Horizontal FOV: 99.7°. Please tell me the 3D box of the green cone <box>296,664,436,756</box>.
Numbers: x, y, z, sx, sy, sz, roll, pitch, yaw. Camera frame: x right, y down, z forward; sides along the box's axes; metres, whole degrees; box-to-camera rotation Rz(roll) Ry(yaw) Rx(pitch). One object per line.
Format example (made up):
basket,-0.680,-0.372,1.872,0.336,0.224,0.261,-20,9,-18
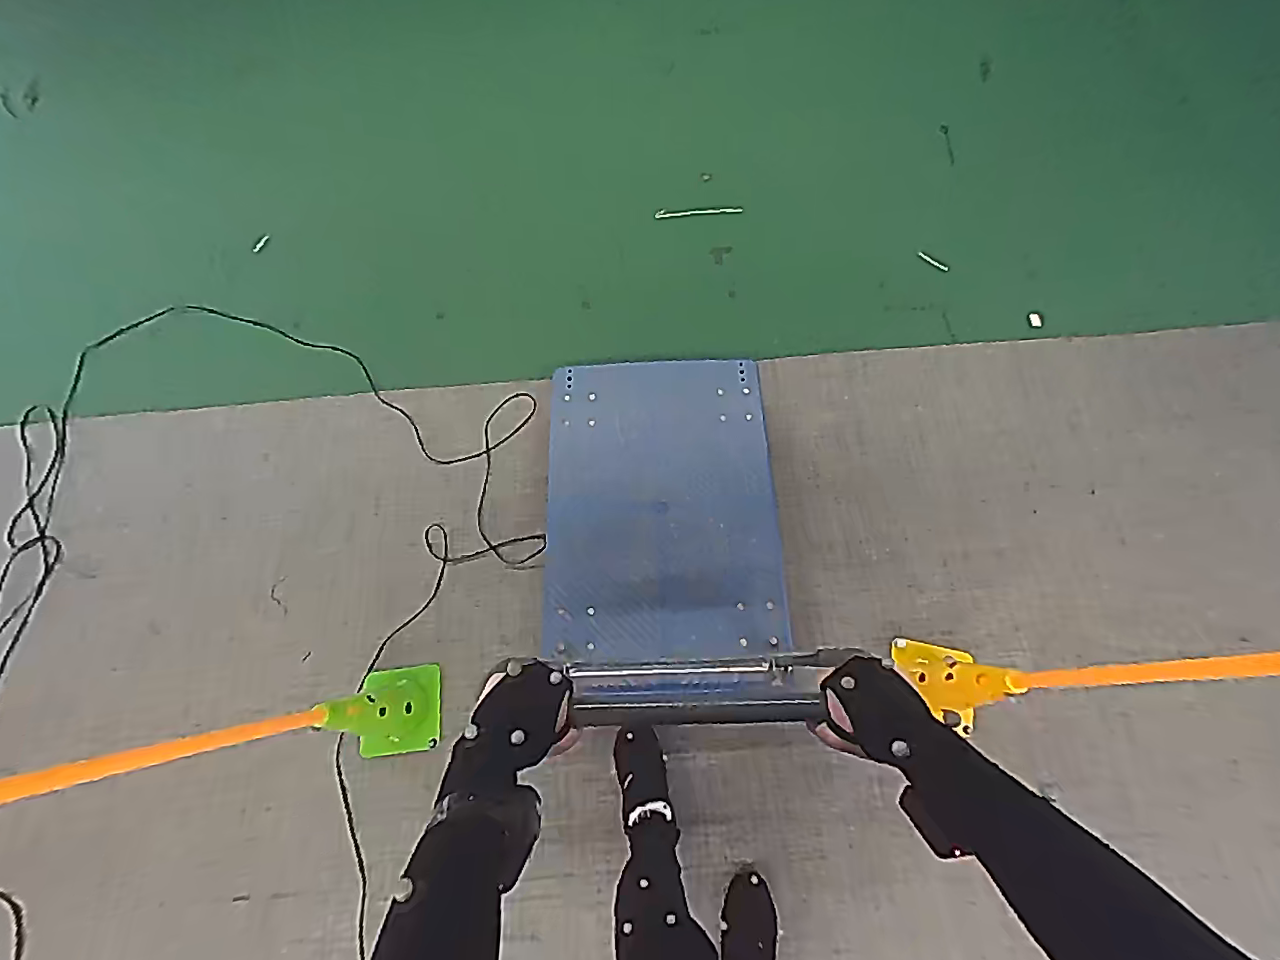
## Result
green cone,-0.622,0.511,1.197,0.202,0.368,0.200,-8,68,1
